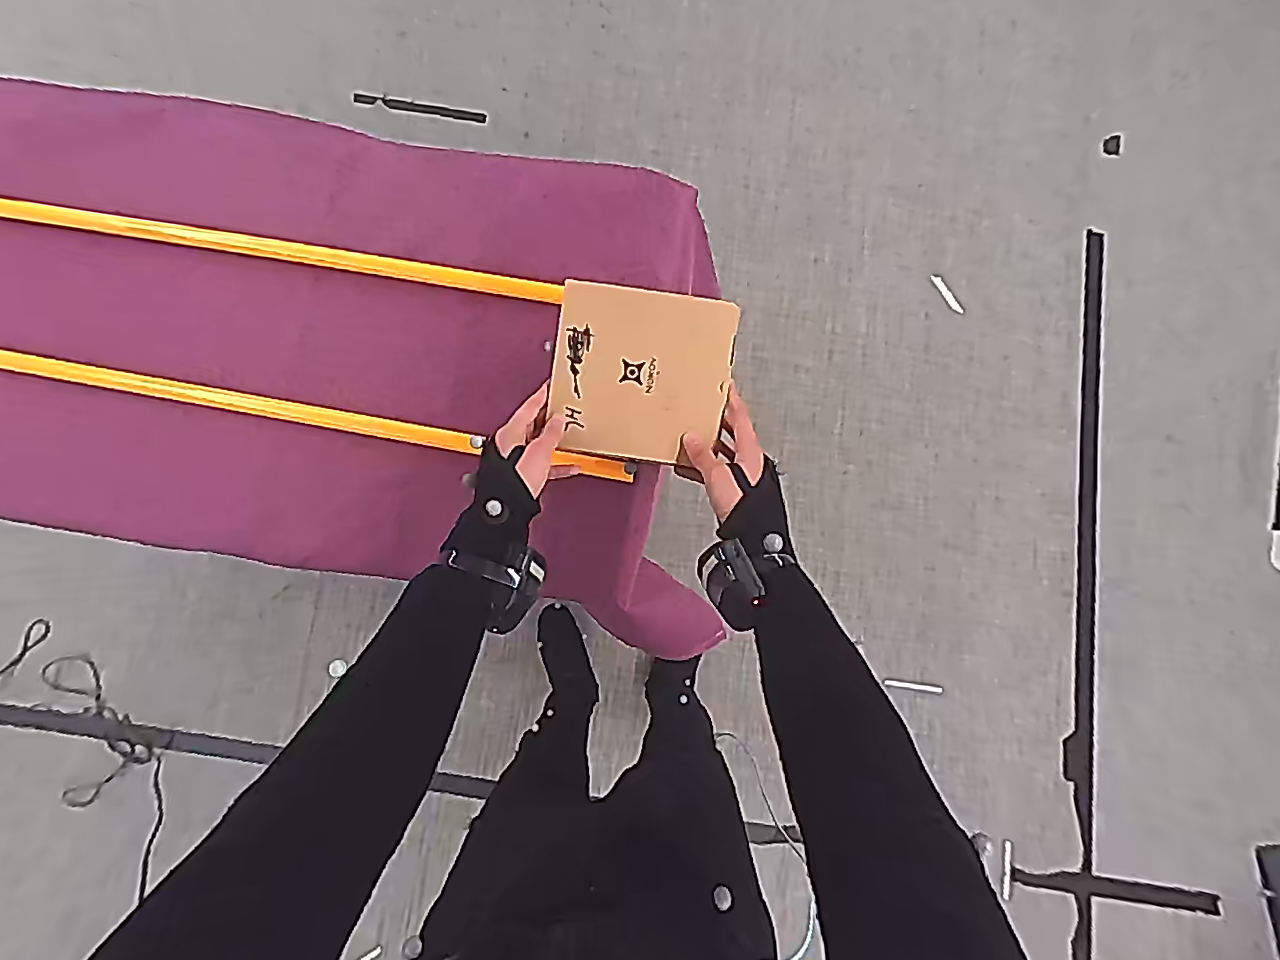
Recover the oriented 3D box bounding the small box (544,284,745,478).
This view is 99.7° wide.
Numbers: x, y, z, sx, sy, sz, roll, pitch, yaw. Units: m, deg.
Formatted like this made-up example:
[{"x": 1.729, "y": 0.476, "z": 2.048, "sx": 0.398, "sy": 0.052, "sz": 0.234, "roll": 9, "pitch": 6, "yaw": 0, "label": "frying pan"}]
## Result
[{"x": 0.003, "y": -0.099, "z": 0.605, "sx": 0.179, "sy": 0.176, "sz": 0.168, "roll": 9, "pitch": 91, "yaw": 0, "label": "small box"}]
